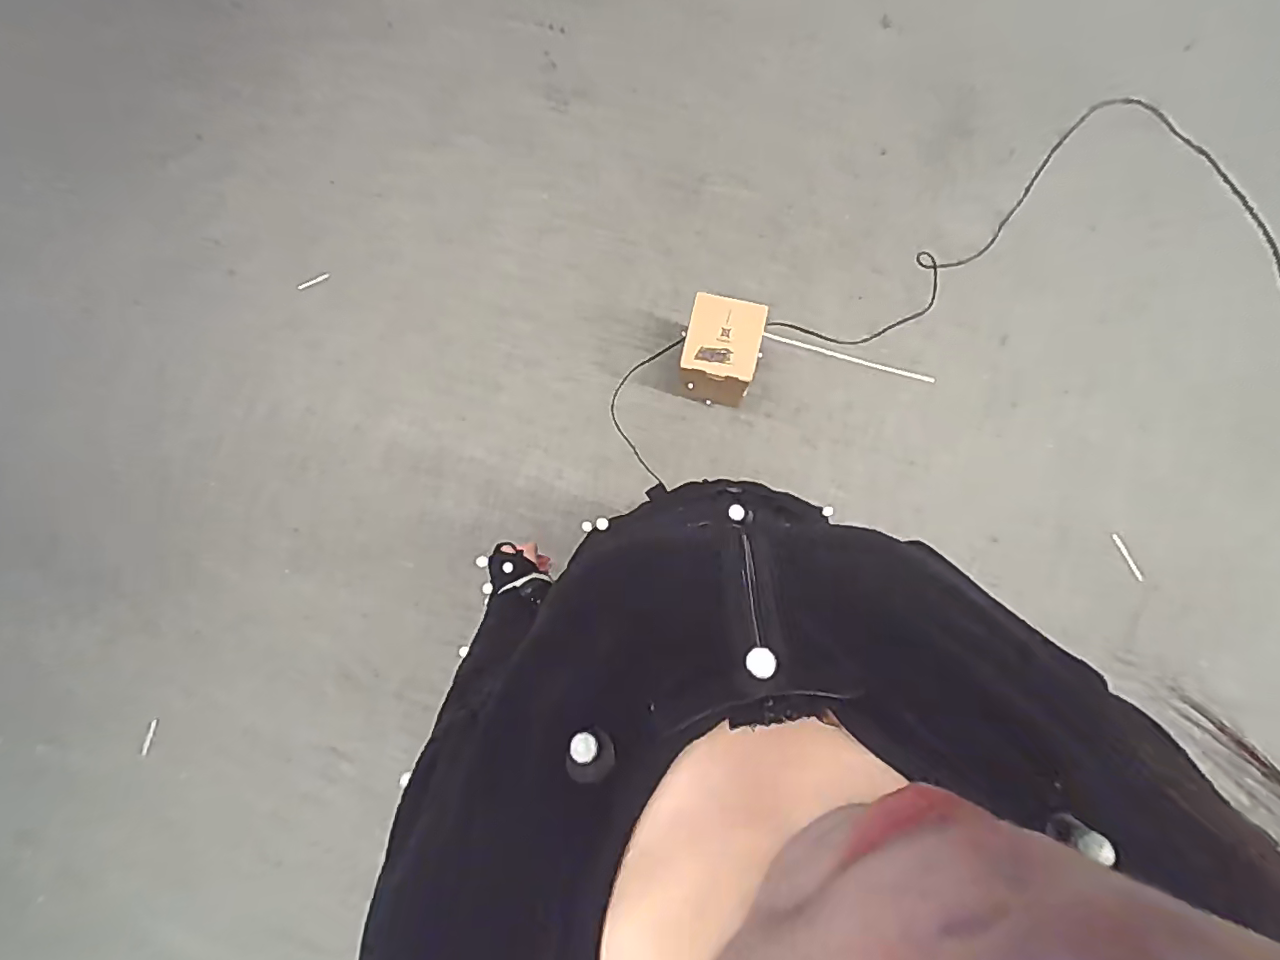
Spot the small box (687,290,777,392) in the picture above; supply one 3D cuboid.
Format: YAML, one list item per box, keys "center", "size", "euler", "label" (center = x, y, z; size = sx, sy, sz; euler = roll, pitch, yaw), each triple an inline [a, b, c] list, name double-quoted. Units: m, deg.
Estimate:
- center: [0.212, -0.320, 1.279]
  size: [0.168, 0.176, 0.179]
  euler: [13, 88, 5]
  label: "small box"
